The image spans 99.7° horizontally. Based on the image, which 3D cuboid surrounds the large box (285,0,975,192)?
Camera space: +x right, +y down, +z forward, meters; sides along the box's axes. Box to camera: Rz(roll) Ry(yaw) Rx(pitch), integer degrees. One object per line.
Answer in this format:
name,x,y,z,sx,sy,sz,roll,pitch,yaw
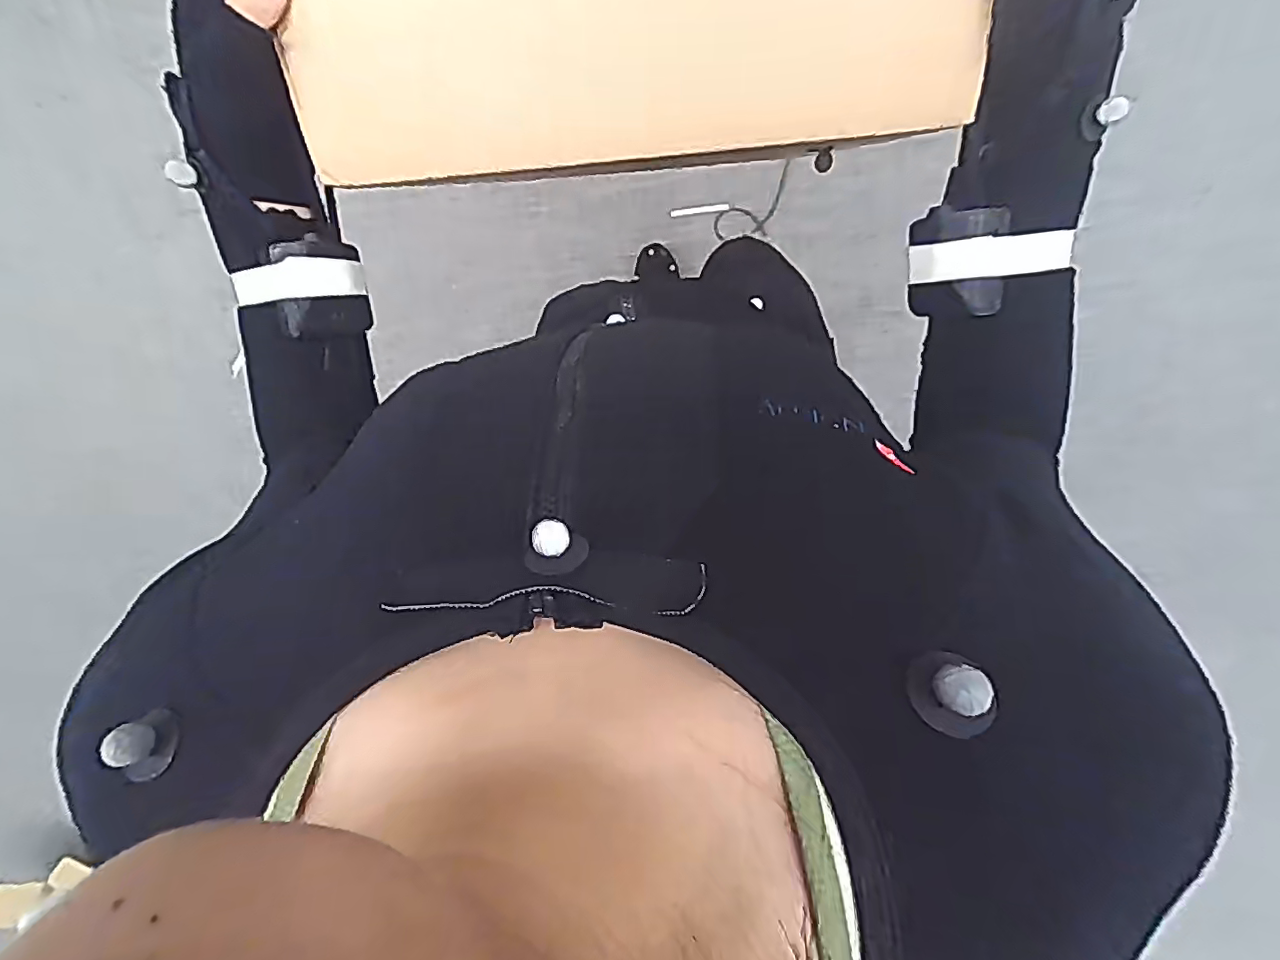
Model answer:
large box,-0.005,-0.414,0.405,0.408,0.320,0.320,-2,118,7
